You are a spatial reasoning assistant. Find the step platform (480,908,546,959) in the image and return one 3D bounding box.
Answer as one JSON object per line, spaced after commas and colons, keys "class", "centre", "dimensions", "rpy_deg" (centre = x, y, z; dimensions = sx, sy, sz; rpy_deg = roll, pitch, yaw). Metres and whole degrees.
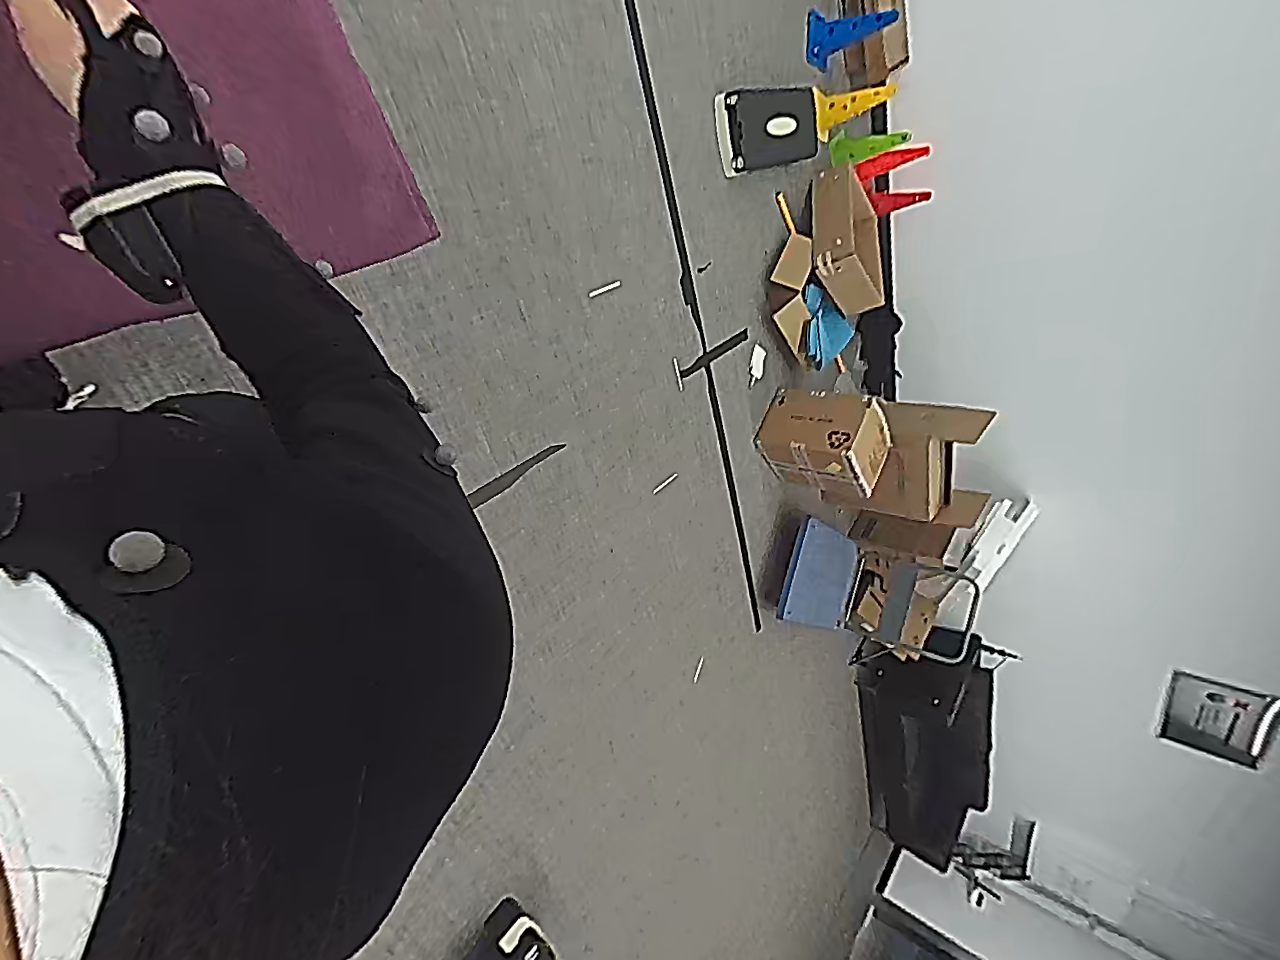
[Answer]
{"class": "step platform", "centre": [-0.603, 1.800, 1.726], "dimensions": [0.684, 0.204, 0.286], "rpy_deg": [-38, 126, -37]}
